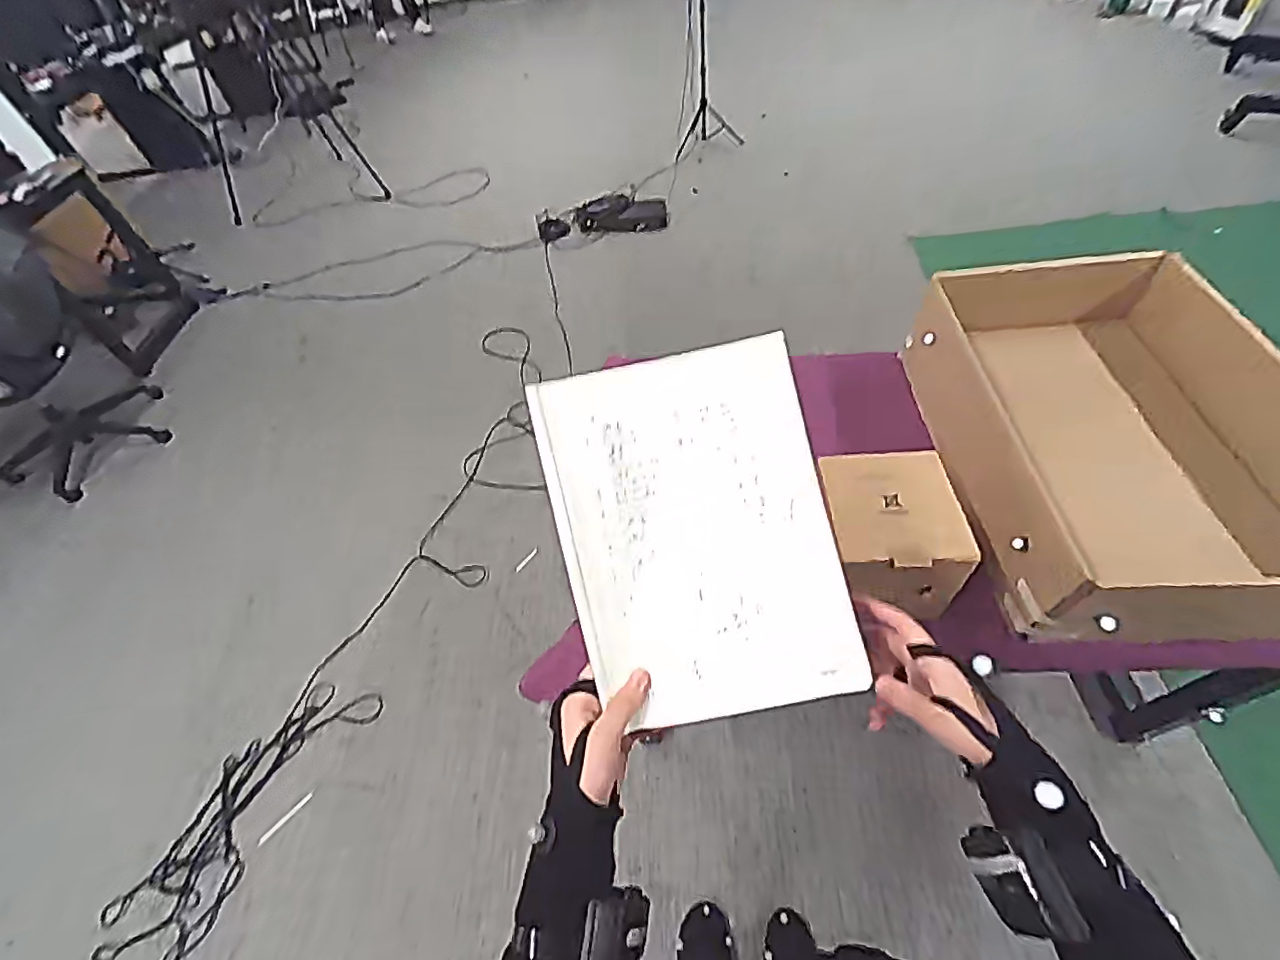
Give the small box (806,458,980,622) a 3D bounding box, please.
[{"bbox_3d":[0.339,0.091,0.766,0.168,0.176,0.179,-2,50,6],"label":"small box"}]
